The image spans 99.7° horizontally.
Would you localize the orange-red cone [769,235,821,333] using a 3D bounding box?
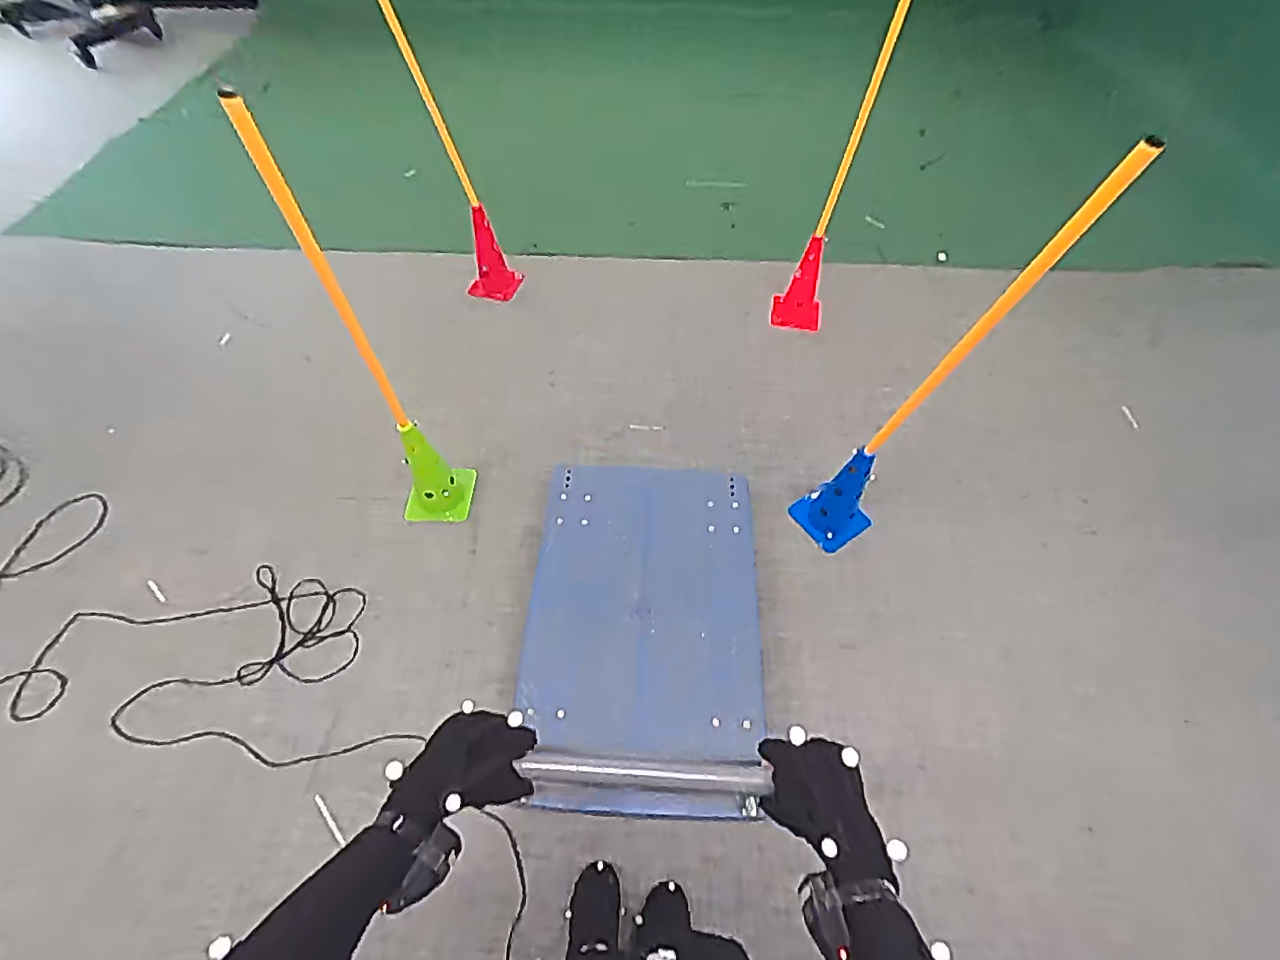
[{"bbox_3d":[0.648,-0.788,2.128,0.198,0.360,0.199,11,57,8],"label":"orange-red cone"}]
